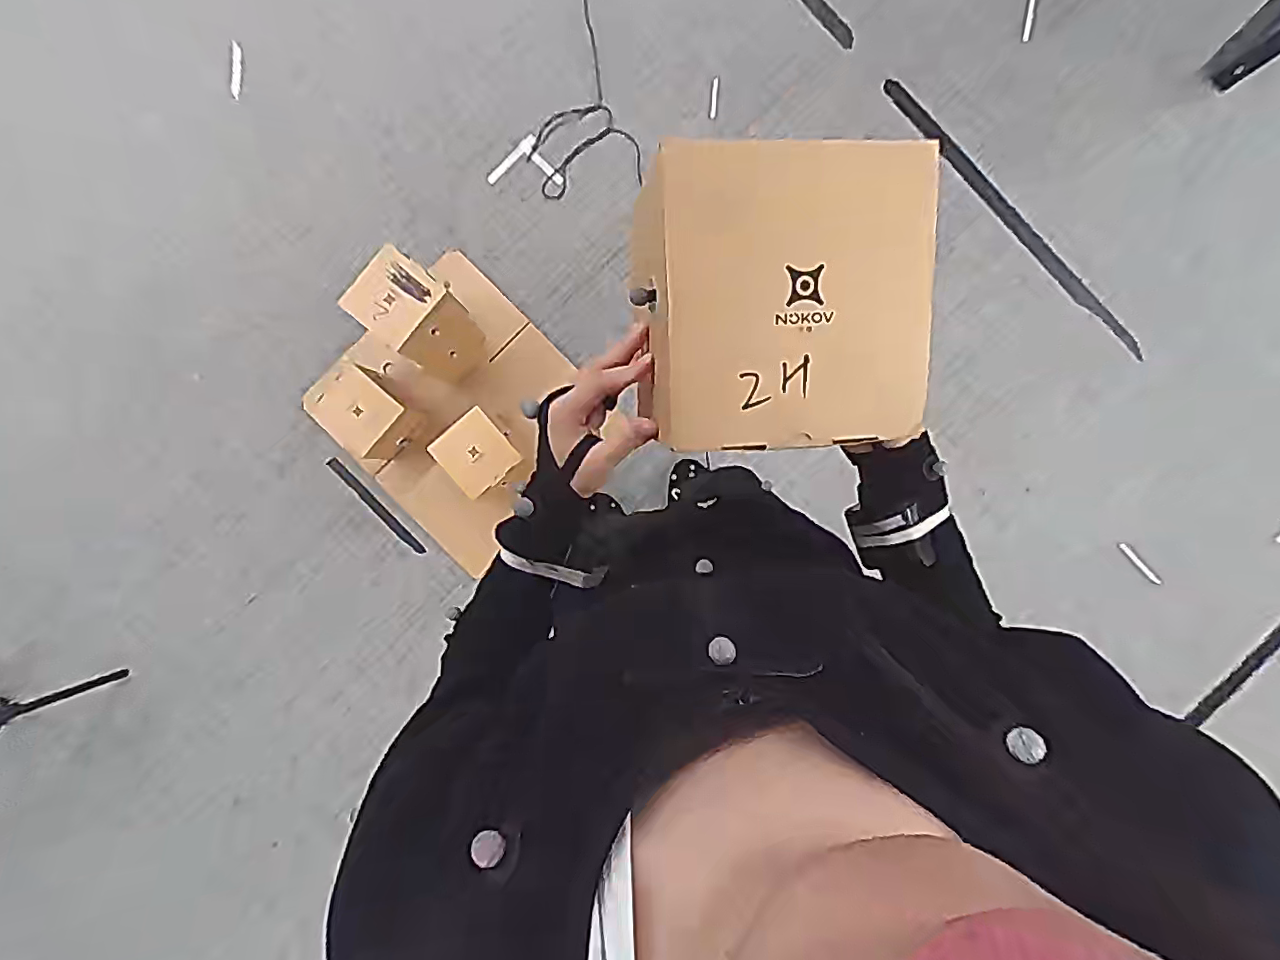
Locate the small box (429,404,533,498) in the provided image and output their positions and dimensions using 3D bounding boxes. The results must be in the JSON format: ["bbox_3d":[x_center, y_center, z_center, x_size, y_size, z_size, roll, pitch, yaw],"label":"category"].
[{"bbox_3d":[-0.401,-0.070,1.392,0.168,0.176,0.179,-41,92,0],"label":"small box"}]

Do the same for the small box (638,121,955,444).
[{"bbox_3d":[0.091,-0.125,0.390,0.168,0.176,0.179,-4,102,-6],"label":"small box"}]

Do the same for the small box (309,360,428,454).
[{"bbox_3d":[-0.687,-0.177,1.390,0.179,0.176,0.168,40,92,-2],"label":"small box"}]

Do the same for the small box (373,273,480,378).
[{"bbox_3d":[-0.535,-0.388,1.390,0.168,0.176,0.179,41,90,-1],"label":"small box"}]
